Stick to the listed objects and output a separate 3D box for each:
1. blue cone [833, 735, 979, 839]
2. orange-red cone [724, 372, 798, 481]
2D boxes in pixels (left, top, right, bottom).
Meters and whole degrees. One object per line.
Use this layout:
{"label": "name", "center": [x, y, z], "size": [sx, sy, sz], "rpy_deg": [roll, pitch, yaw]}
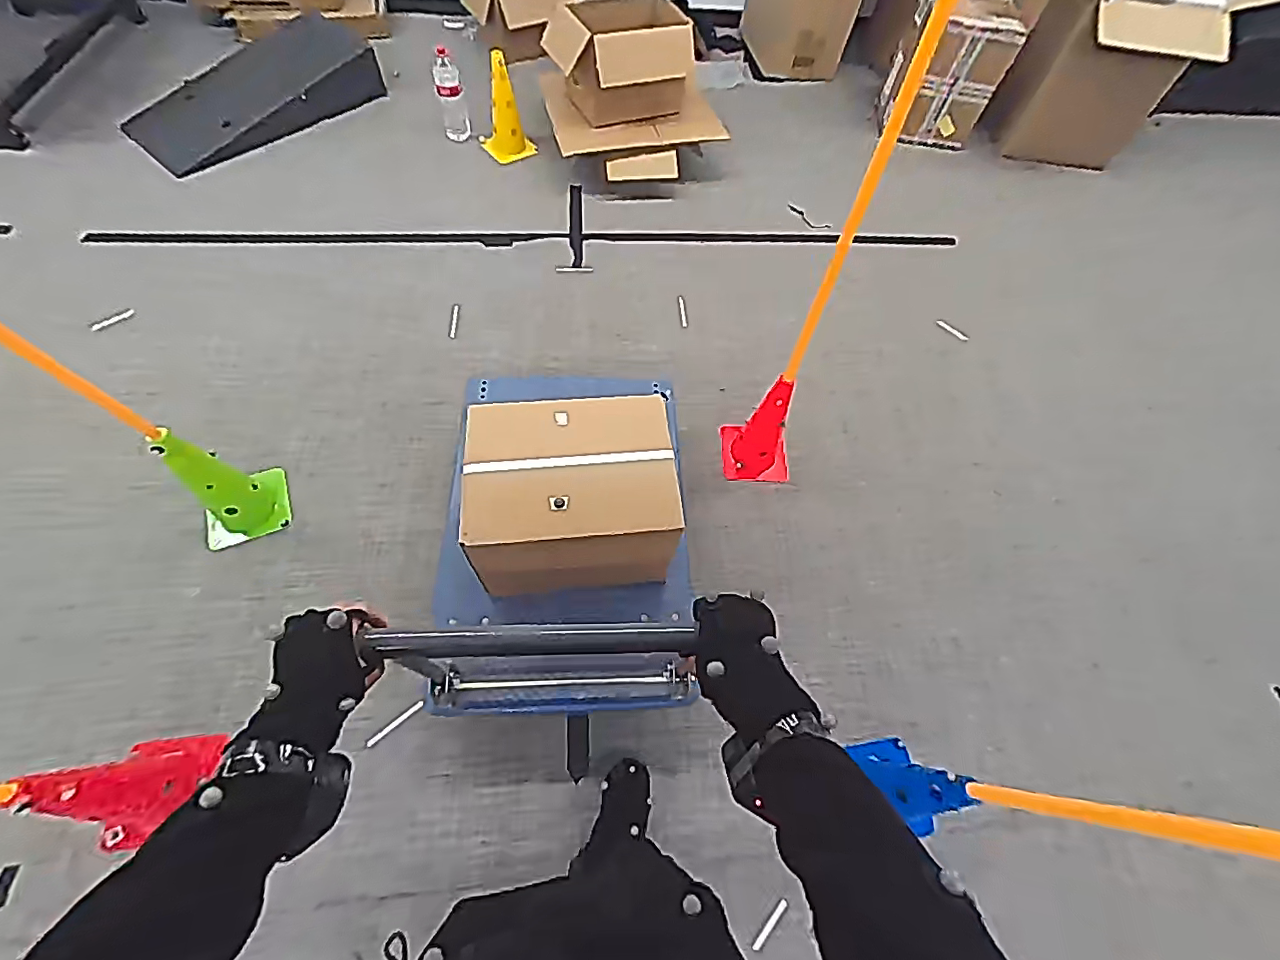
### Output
{"label": "blue cone", "center": [0.562, 0.613, 1.091], "size": [0.193, 0.380, 0.192], "rpy_deg": [-5, 60, -8]}
{"label": "orange-red cone", "center": [0.369, -0.173, 1.510], "size": [0.199, 0.360, 0.198], "rpy_deg": [4, 60, -3]}
